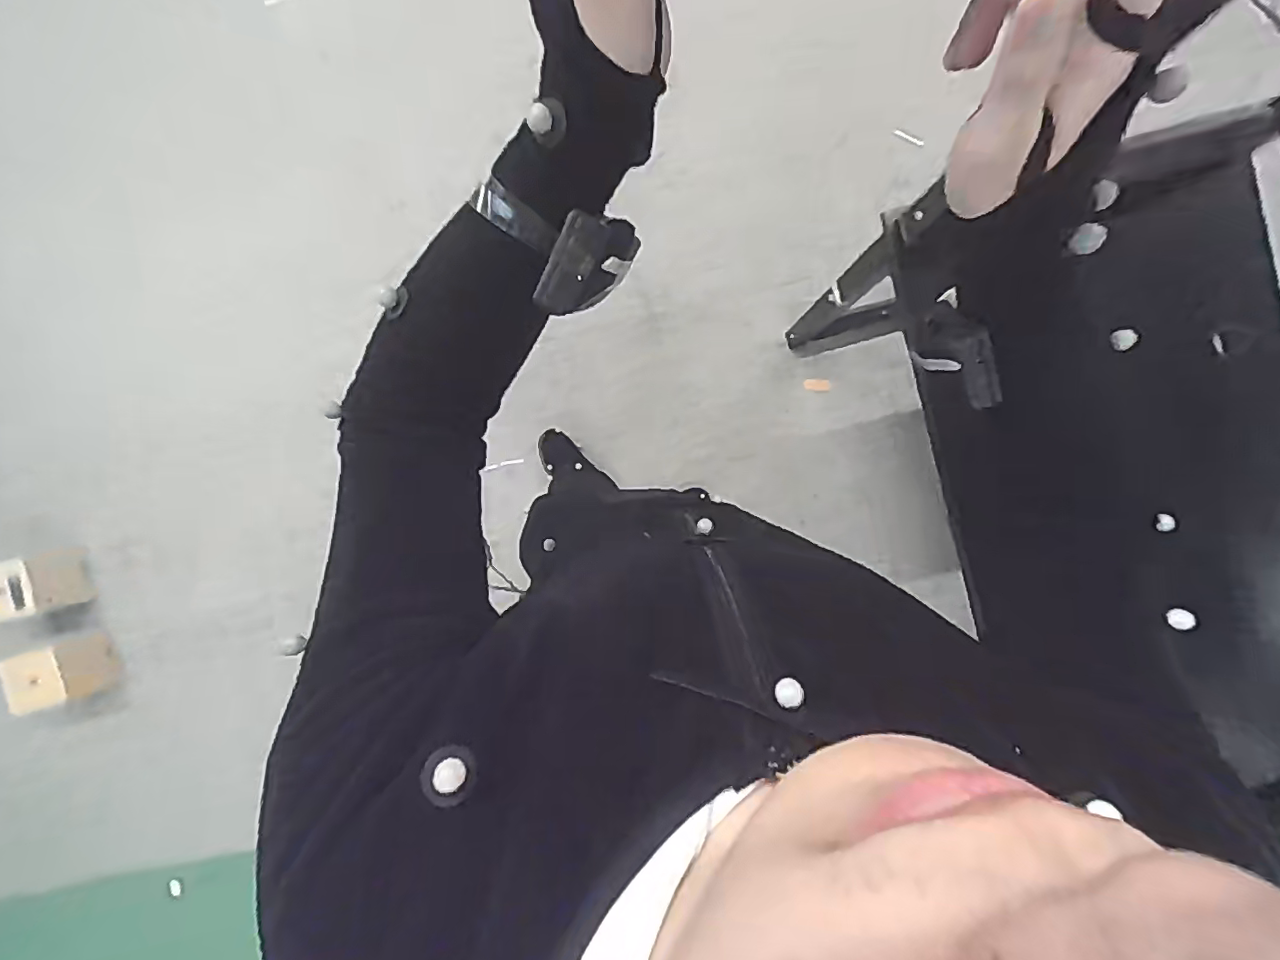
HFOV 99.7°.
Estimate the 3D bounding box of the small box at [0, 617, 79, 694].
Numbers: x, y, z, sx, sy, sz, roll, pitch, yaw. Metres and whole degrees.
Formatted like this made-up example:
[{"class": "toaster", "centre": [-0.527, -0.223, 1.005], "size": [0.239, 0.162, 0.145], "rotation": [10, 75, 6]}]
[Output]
[{"class": "small box", "centre": [-1.779, 0.507, 1.553], "size": [0.179, 0.176, 0.168], "rotation": [-12, 91, 1]}]
